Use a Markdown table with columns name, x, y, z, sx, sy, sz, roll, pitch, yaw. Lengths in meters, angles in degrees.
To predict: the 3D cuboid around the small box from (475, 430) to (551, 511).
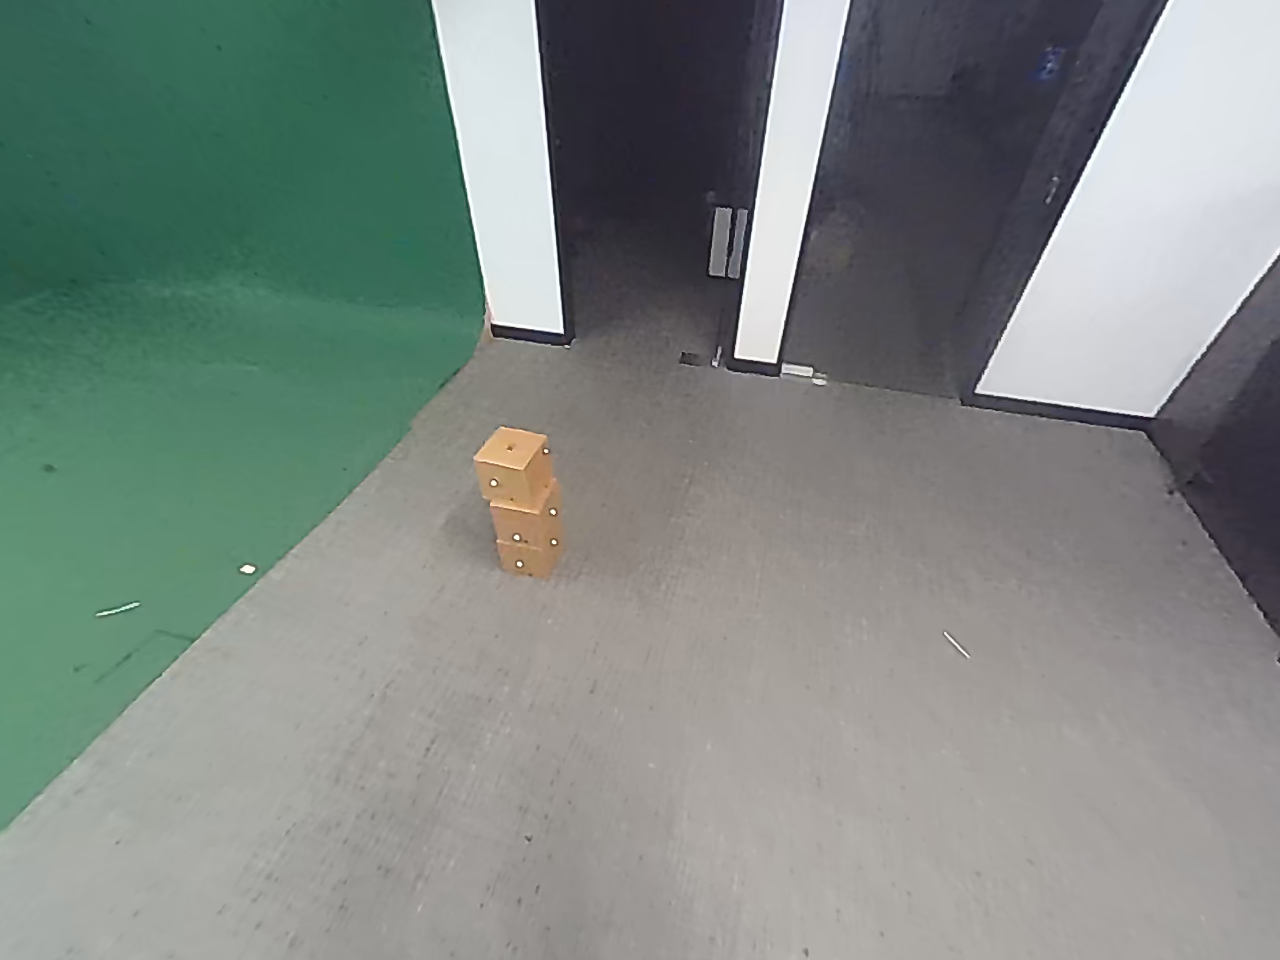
| name | x | y | z | sx | sy | sz | roll | pitch | yaw |
| --- | --- | --- | --- | --- | --- | --- | --- | --- | --- |
| small box | -0.389 | -0.028 | 1.697 | 0.168 | 0.176 | 0.179 | 12 | 43 | 13 |
